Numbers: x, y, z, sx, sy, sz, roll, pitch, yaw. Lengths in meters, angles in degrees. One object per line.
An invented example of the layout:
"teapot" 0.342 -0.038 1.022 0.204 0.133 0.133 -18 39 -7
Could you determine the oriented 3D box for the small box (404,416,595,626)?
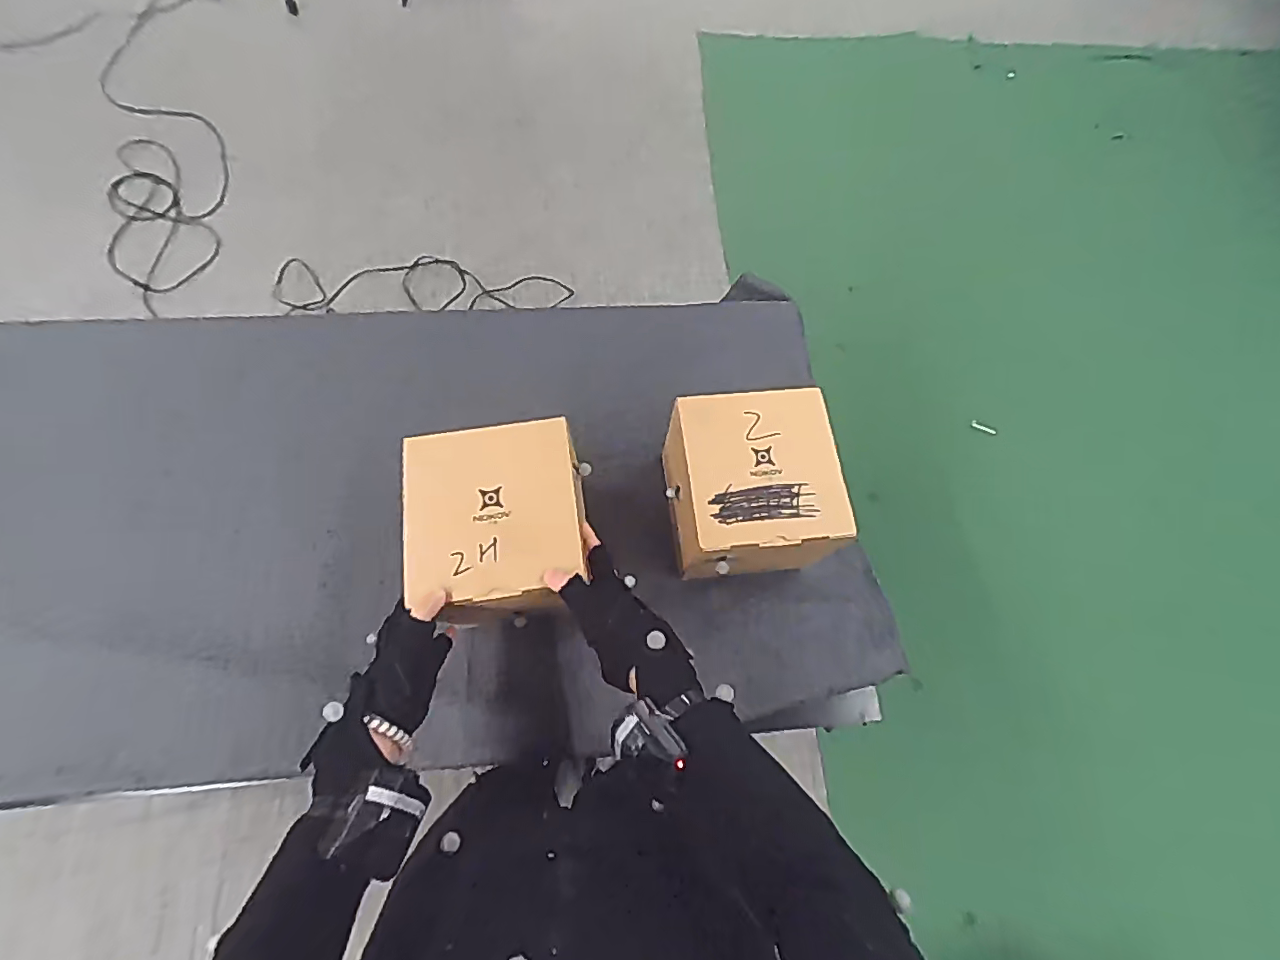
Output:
"small box" -0.143 0.053 0.592 0.168 0.176 0.179 -8 70 -3
